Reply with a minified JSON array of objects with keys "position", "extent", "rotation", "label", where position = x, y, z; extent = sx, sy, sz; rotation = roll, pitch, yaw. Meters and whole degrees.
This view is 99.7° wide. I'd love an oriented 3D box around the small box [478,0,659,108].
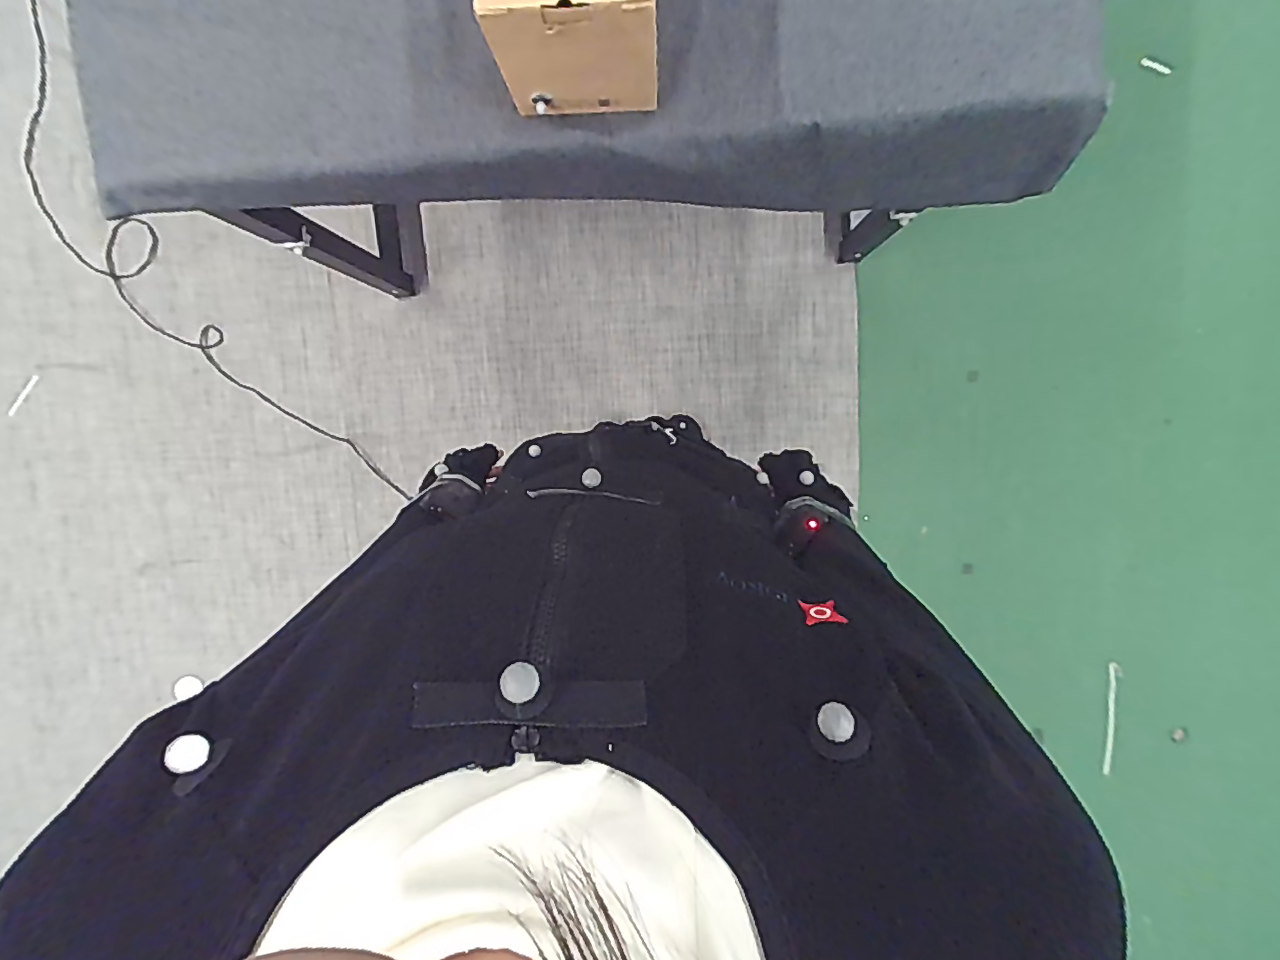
[{"position":[-0.064,-0.521,0.563],"extent":[0.168,0.176,0.179],"rotation":[0,95,1],"label":"small box"}]
